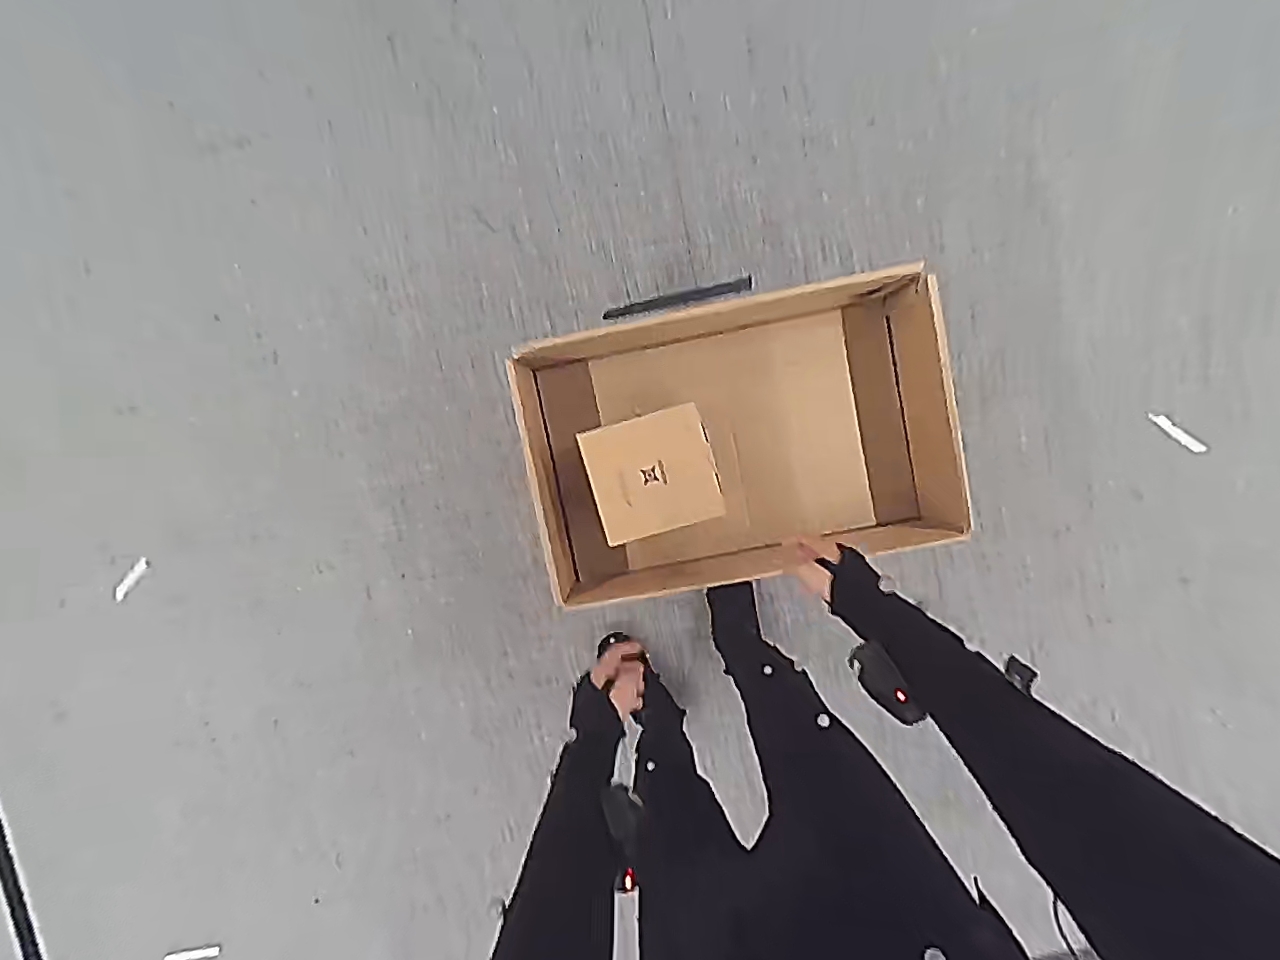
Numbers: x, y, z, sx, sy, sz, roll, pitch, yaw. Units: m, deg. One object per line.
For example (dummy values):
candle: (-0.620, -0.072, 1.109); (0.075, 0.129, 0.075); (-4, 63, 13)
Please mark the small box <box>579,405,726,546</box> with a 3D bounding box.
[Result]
small box: (0.019, -0.011, 0.832); (0.179, 0.176, 0.168); (-16, 92, 3)
